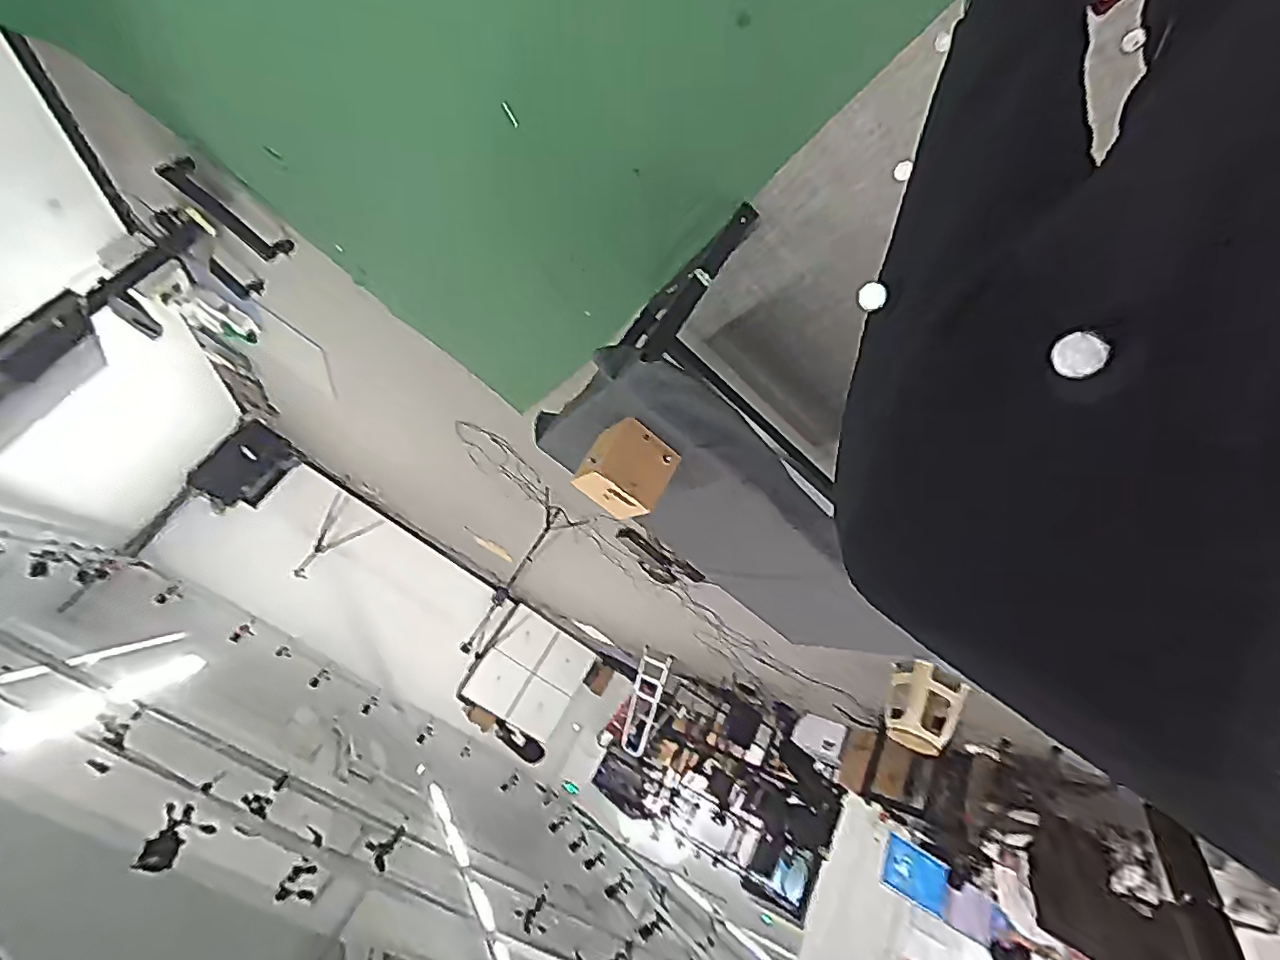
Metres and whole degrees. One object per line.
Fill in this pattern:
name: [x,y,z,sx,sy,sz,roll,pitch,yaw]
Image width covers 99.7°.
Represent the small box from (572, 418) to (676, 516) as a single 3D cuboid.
small box: [-0.034,-0.031,1.336,0.168,0.176,0.179,39,156,-17]
